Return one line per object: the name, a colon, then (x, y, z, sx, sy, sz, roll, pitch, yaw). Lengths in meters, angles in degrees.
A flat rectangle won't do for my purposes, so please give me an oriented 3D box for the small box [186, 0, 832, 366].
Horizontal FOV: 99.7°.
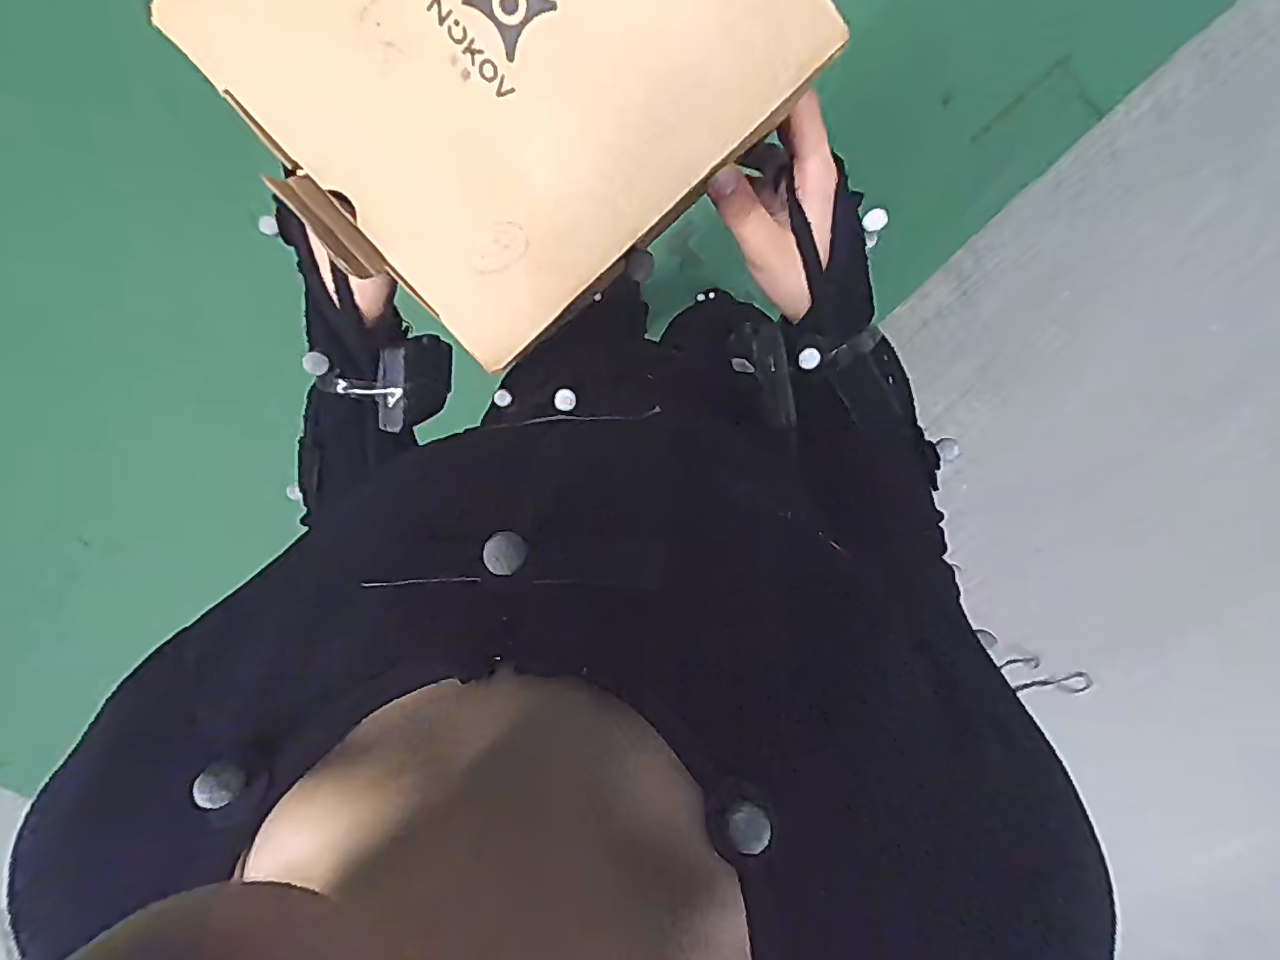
small box: (-0.042, -0.185, 0.263, 0.179, 0.176, 0.168, -36, 107, 17)
